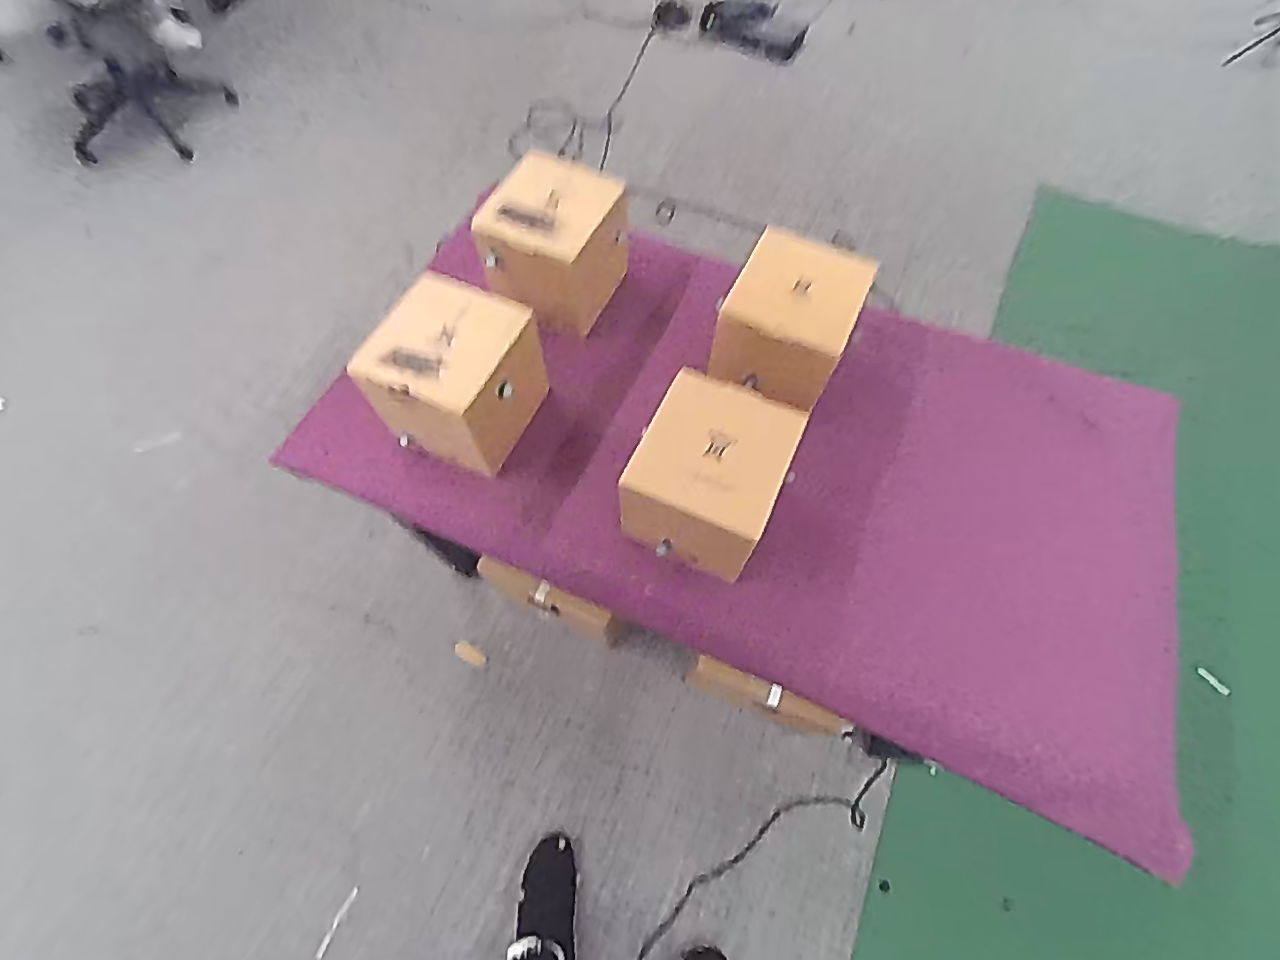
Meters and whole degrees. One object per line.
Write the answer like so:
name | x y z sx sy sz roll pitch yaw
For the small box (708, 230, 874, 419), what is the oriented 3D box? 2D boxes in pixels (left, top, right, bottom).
small box | 0.208 -0.217 0.787 0.168 0.176 0.179 24 68 10

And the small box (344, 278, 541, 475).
small box | -0.249 -0.133 0.739 0.168 0.176 0.179 21 64 9

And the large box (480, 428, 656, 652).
large box | -0.131 0.156 1.337 0.320 0.320 0.408 22 65 9

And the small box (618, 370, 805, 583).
small box | 0.082 0.002 0.678 0.168 0.176 0.179 23 66 11
